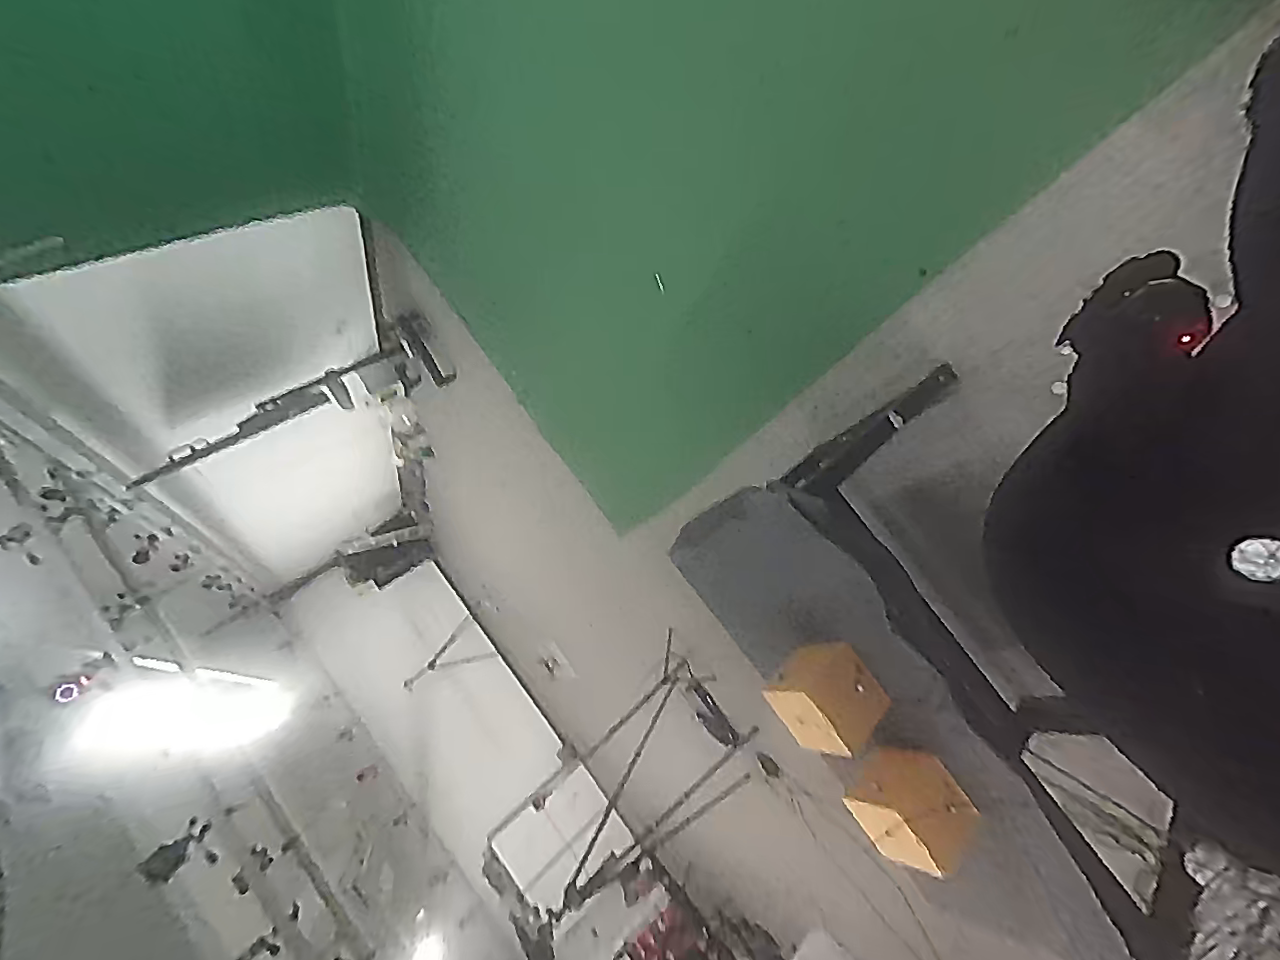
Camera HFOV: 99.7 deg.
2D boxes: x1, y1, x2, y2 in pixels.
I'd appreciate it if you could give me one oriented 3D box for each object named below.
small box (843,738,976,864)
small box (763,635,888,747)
[{"bbox_3d":[0.609,0.711,1.222,0.168,0.176,0.179,53,150,4],"label":"small box"},{"bbox_3d":[0.425,0.477,1.243,0.168,0.176,0.179,52,151,3],"label":"small box"}]
